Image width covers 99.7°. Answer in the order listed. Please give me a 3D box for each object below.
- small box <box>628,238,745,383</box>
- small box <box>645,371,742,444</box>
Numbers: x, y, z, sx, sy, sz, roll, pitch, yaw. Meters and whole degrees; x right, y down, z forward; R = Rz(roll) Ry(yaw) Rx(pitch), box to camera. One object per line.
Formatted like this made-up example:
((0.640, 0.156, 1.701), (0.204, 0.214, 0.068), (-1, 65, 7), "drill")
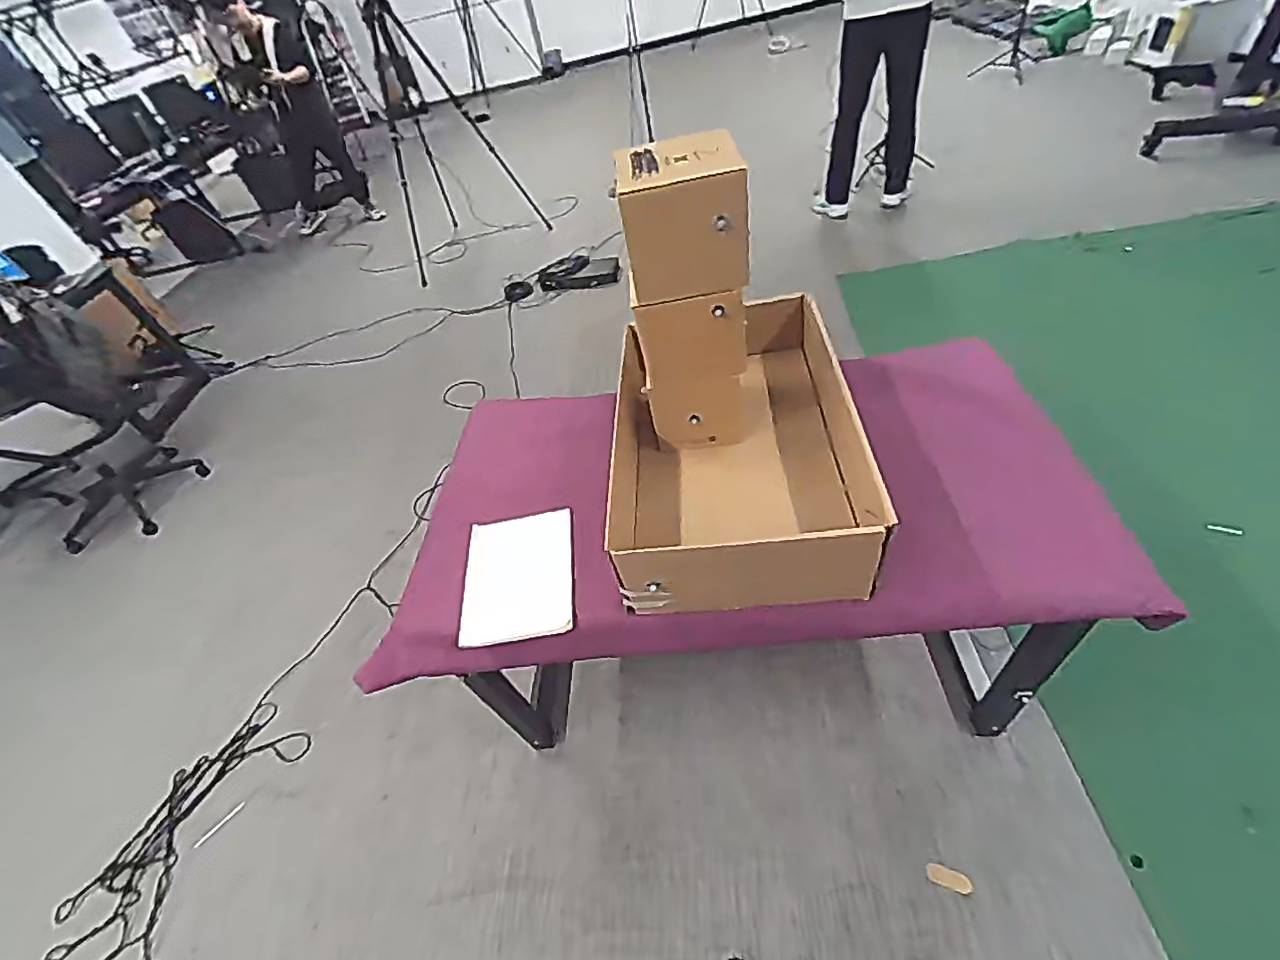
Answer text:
((0.082, -0.287, 0.938), (0.179, 0.176, 0.168), (-8, 49, 7), "small box")
((0.108, -0.184, 1.060), (0.168, 0.176, 0.179), (-6, 49, 9), "small box")
